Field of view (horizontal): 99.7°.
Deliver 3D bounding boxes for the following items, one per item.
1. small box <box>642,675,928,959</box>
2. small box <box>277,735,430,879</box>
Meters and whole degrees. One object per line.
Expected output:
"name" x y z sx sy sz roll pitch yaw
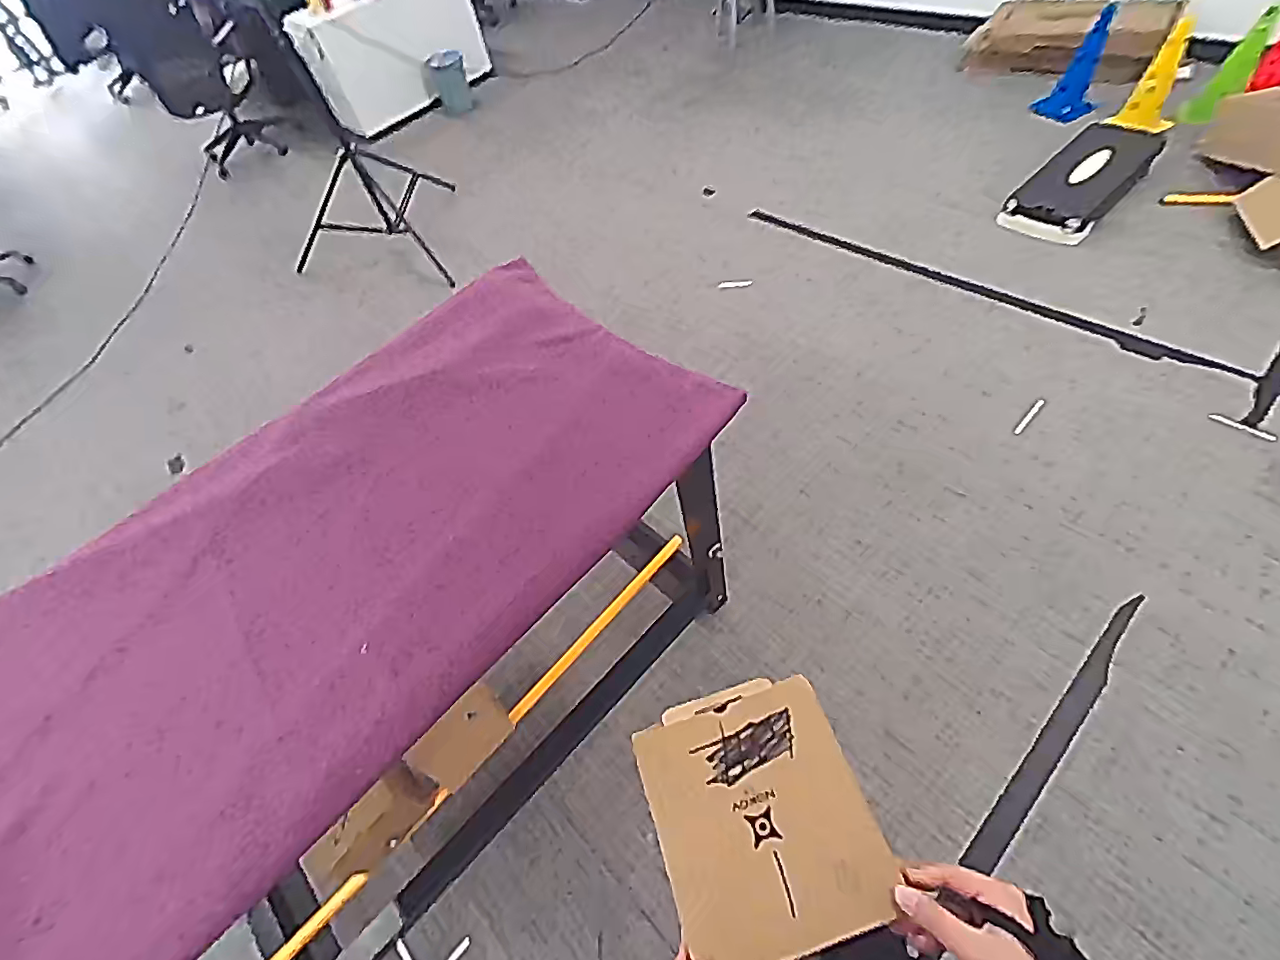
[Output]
"small box" 0.109 0.303 0.480 0.168 0.176 0.179 -17 55 -3
"small box" -0.558 0.646 1.070 0.179 0.176 0.168 34 68 27
